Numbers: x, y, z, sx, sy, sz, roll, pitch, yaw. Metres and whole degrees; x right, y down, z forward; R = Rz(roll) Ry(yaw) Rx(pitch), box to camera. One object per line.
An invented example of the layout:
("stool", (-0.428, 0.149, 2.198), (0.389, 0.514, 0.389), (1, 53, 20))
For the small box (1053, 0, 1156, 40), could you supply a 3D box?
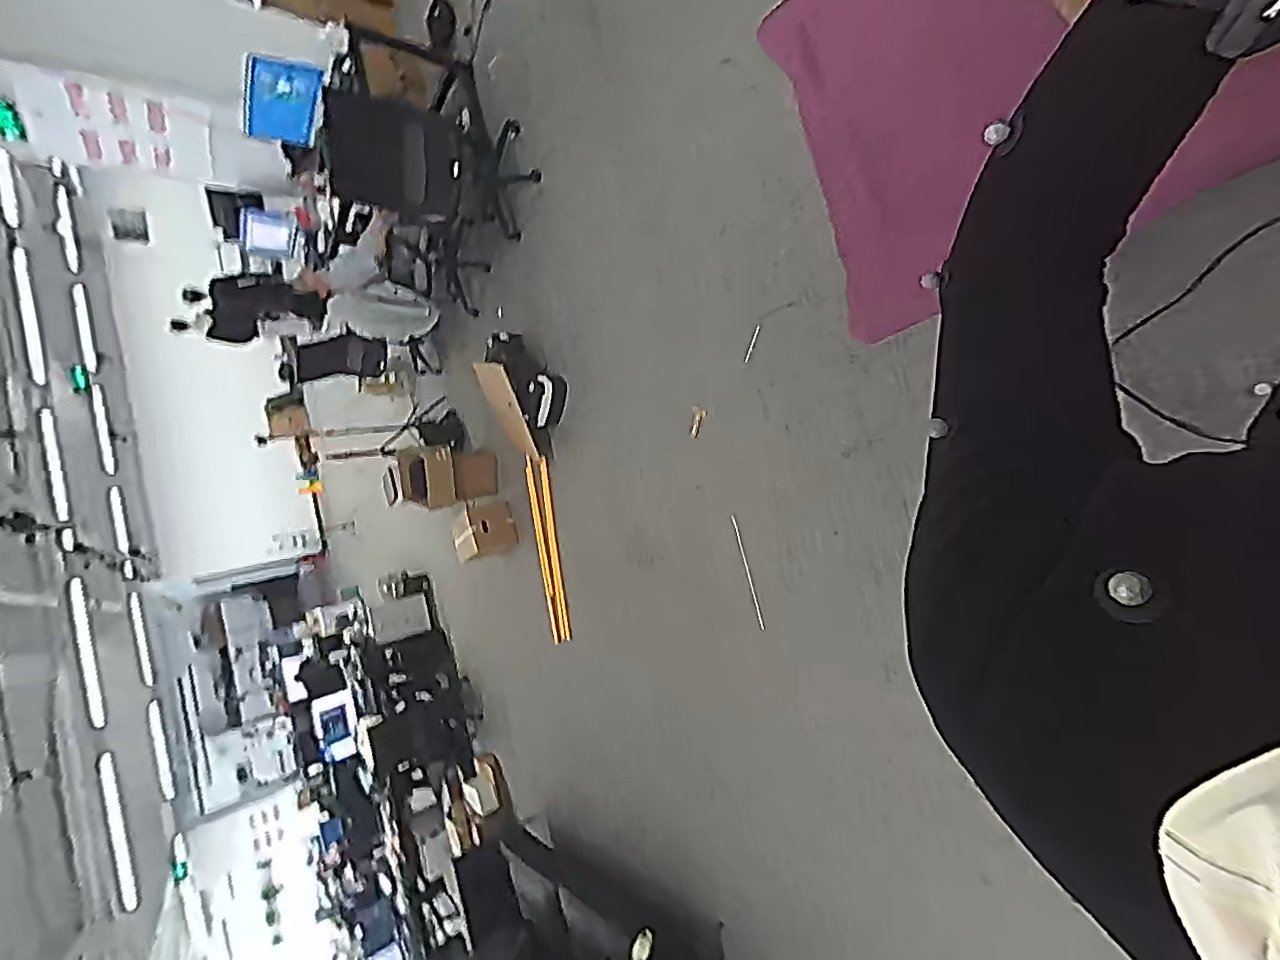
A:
("small box", (0.439, -0.537, 0.456), (0.179, 0.176, 0.168), (-20, 82, 51))
